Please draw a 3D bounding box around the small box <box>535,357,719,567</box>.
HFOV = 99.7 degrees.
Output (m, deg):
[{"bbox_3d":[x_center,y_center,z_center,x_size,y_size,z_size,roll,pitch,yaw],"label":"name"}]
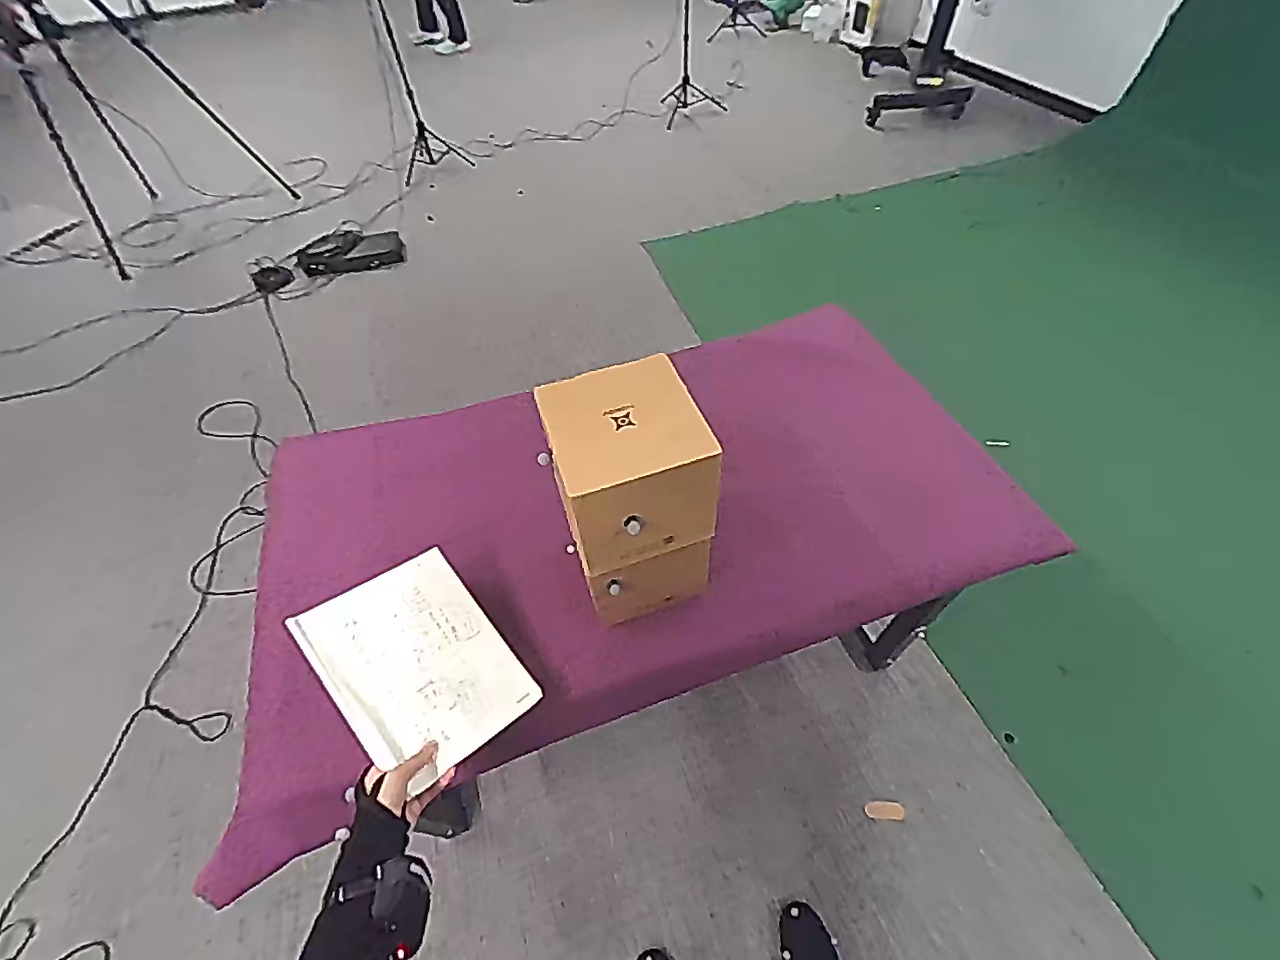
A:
[{"bbox_3d":[-0.014,-0.014,0.654,0.168,0.176,0.179,-17,52,-9],"label":"small box"}]
